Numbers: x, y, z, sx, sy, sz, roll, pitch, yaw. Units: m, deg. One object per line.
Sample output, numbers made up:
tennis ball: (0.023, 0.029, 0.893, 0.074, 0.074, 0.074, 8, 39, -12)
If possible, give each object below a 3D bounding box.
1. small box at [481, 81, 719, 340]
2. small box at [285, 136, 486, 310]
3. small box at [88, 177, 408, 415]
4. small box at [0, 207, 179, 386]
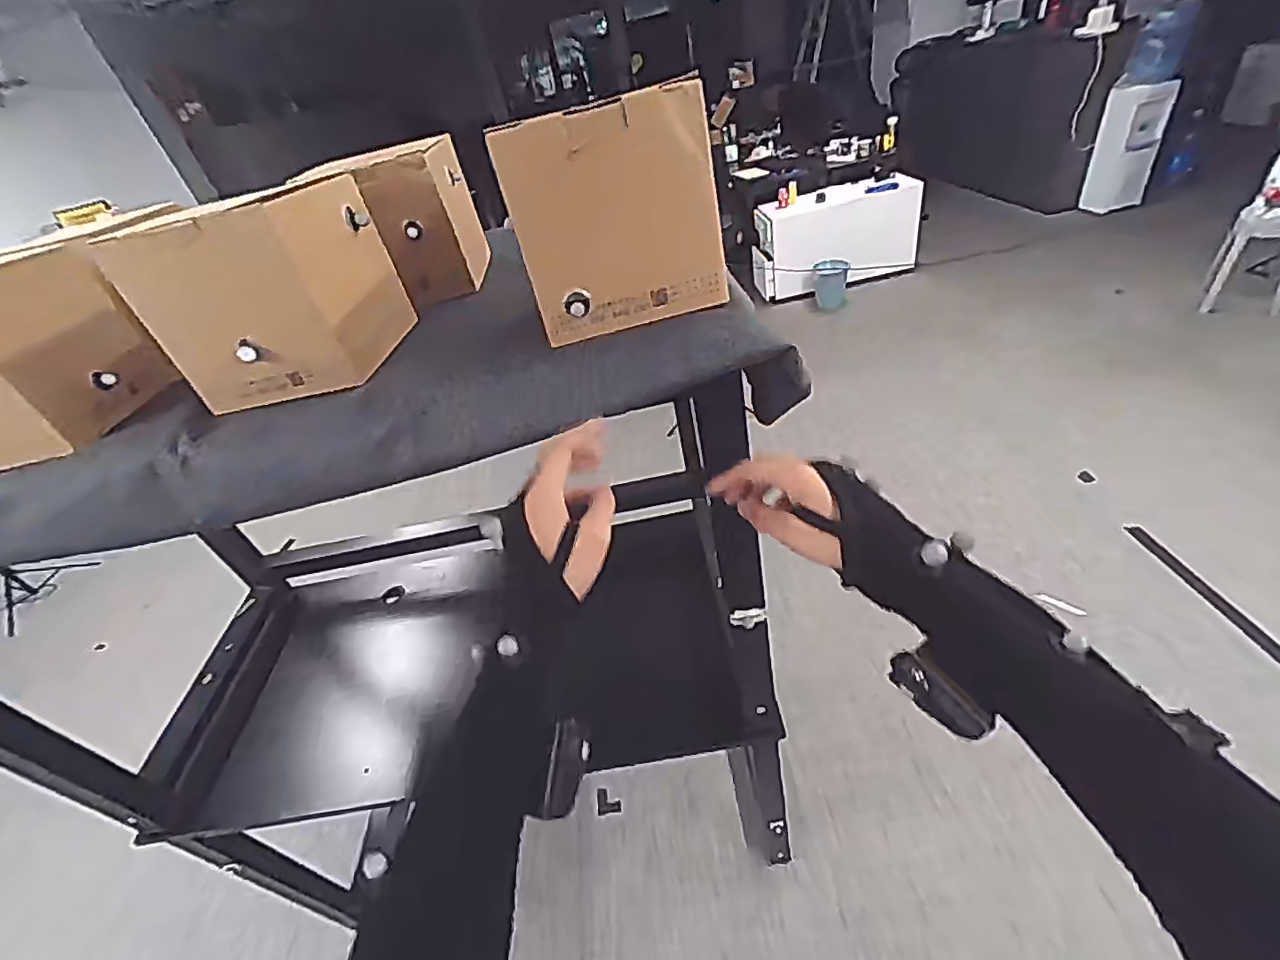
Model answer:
small box: (-0.032, -0.244, 0.506, 0.168, 0.176, 0.179, -15, 33, 0)
small box: (-0.318, -0.335, 0.722, 0.168, 0.176, 0.179, -12, 38, 1)
small box: (-0.367, -0.189, 0.555, 0.168, 0.176, 0.179, -10, 37, 6)
small box: (-0.710, -0.252, 0.749, 0.179, 0.176, 0.168, -11, 38, 4)
